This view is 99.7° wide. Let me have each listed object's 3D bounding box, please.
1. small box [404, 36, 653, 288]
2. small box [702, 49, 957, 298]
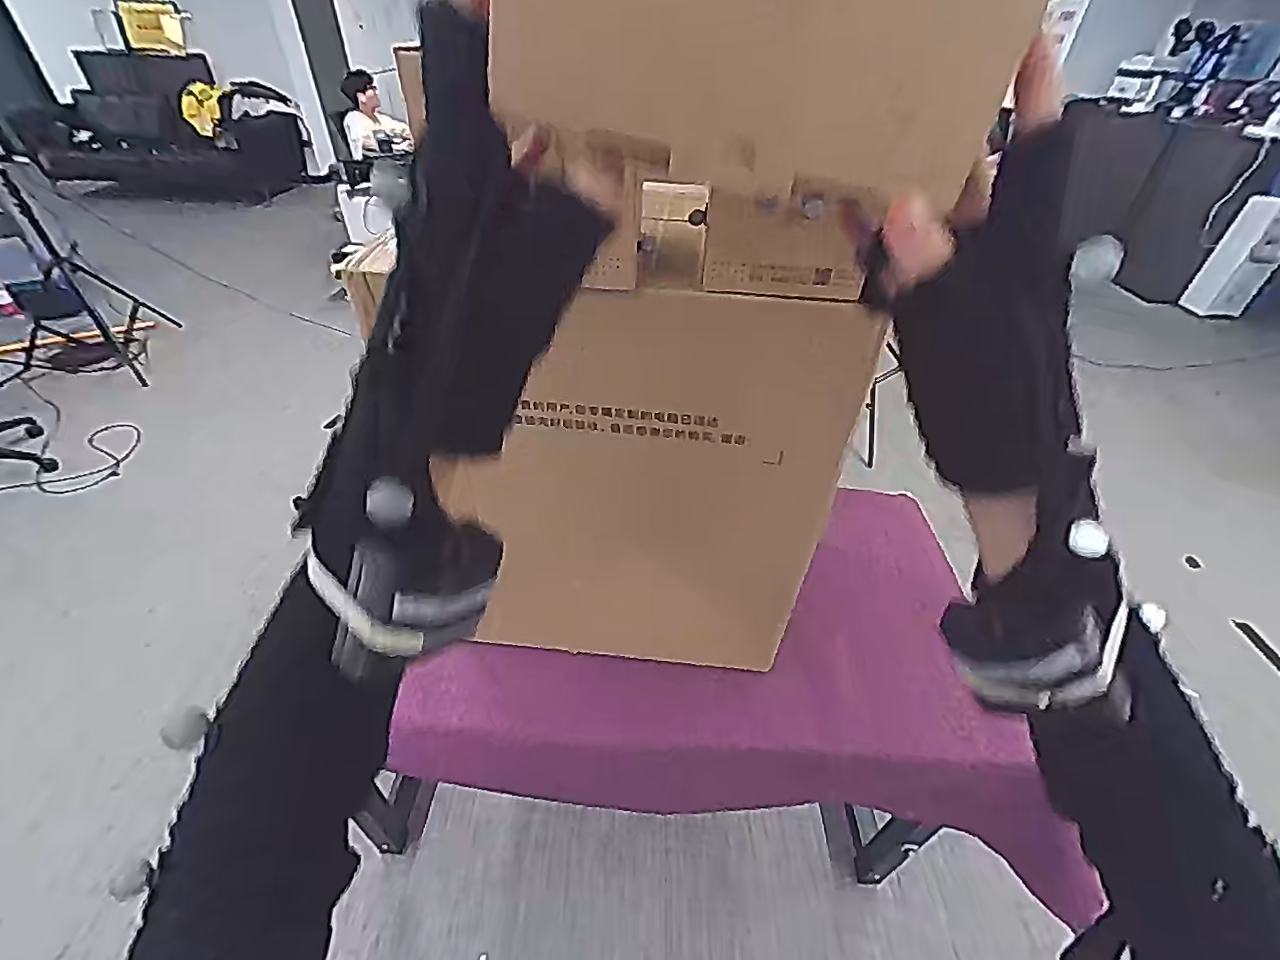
[{"bbox_3d":[-0.081,-0.288,0.494,0.179,0.176,0.168,2,42,1],"label":"small box"},{"bbox_3d":[0.149,-0.281,0.497,0.168,0.176,0.179,5,42,3],"label":"small box"}]
